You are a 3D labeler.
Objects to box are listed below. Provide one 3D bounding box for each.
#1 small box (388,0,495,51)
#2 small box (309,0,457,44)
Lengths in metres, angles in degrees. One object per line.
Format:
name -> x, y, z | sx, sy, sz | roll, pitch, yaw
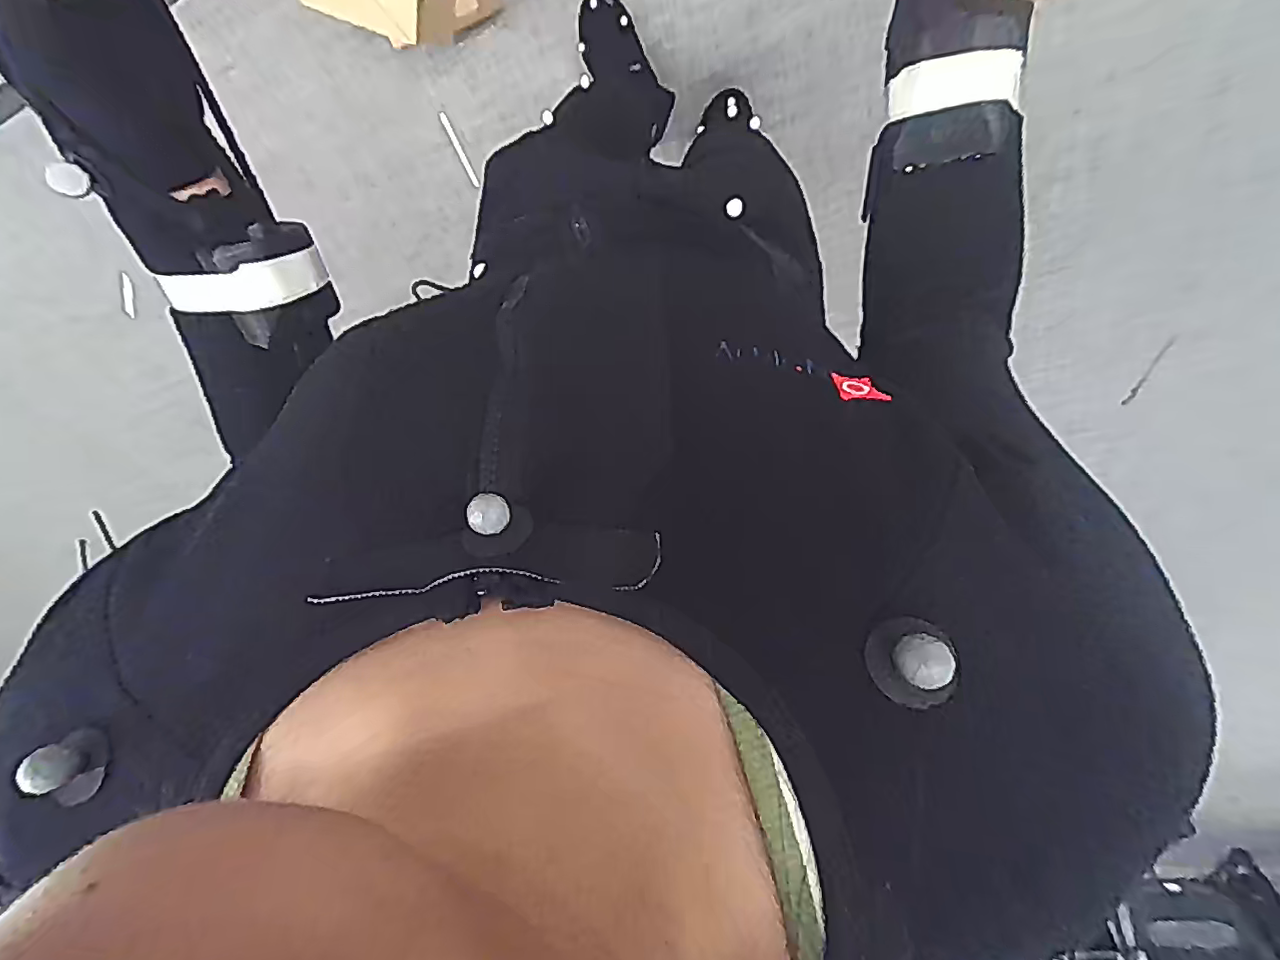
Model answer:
small box -> -0.374, -0.894, 0.954 | 0.179, 0.176, 0.168 | -11, 129, 16
small box -> -0.391, -0.793, 0.821 | 0.179, 0.176, 0.168 | 16, 131, -7
